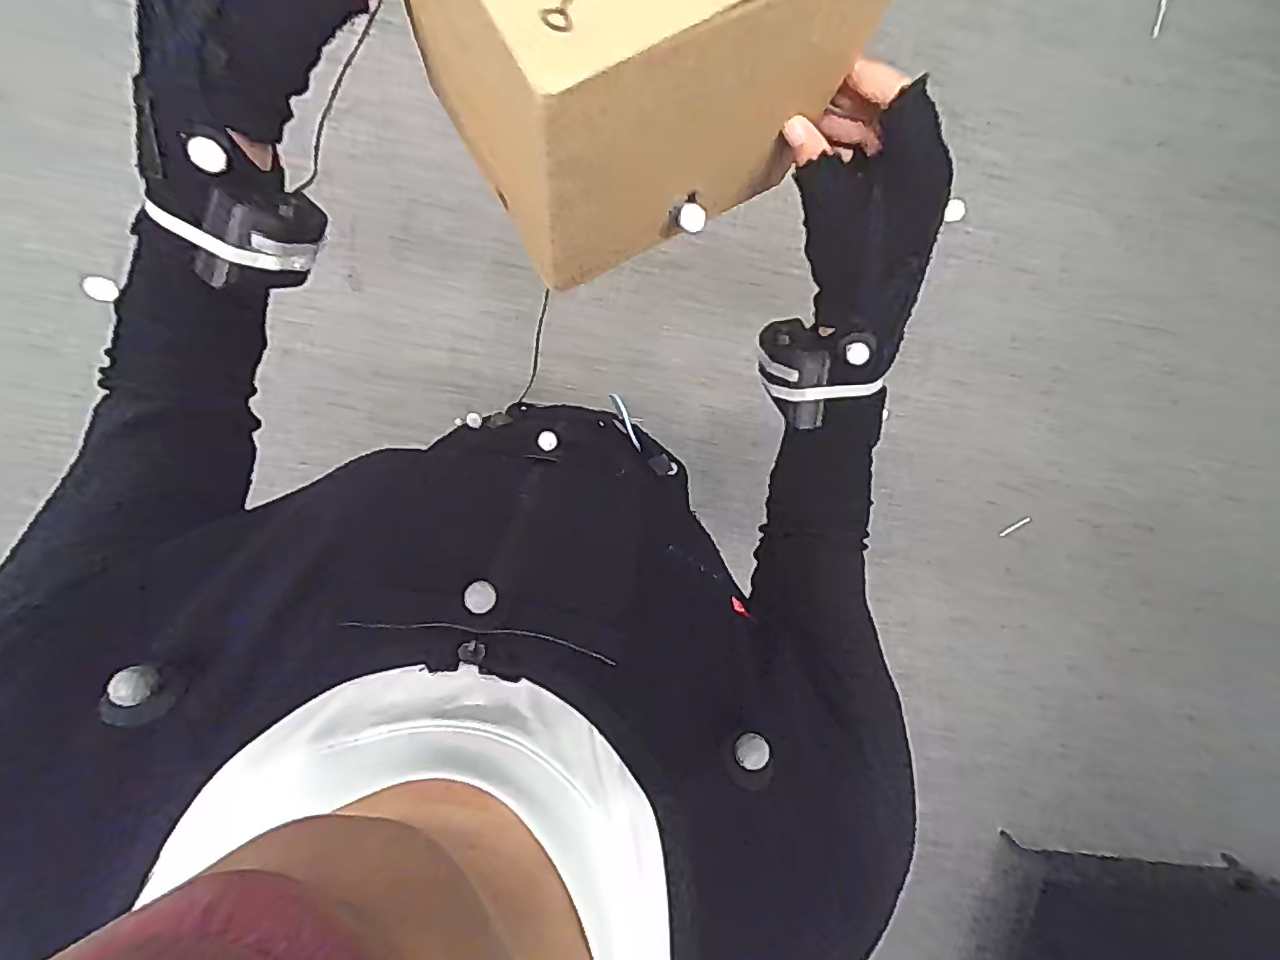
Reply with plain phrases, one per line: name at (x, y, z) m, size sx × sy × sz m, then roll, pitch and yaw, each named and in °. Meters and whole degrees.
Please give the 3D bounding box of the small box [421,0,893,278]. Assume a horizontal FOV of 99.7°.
small box at (-0.008, -0.240, 0.278) m, size 0.179 × 0.176 × 0.168 m, roll -29°, pitch 90°, yaw -8°
